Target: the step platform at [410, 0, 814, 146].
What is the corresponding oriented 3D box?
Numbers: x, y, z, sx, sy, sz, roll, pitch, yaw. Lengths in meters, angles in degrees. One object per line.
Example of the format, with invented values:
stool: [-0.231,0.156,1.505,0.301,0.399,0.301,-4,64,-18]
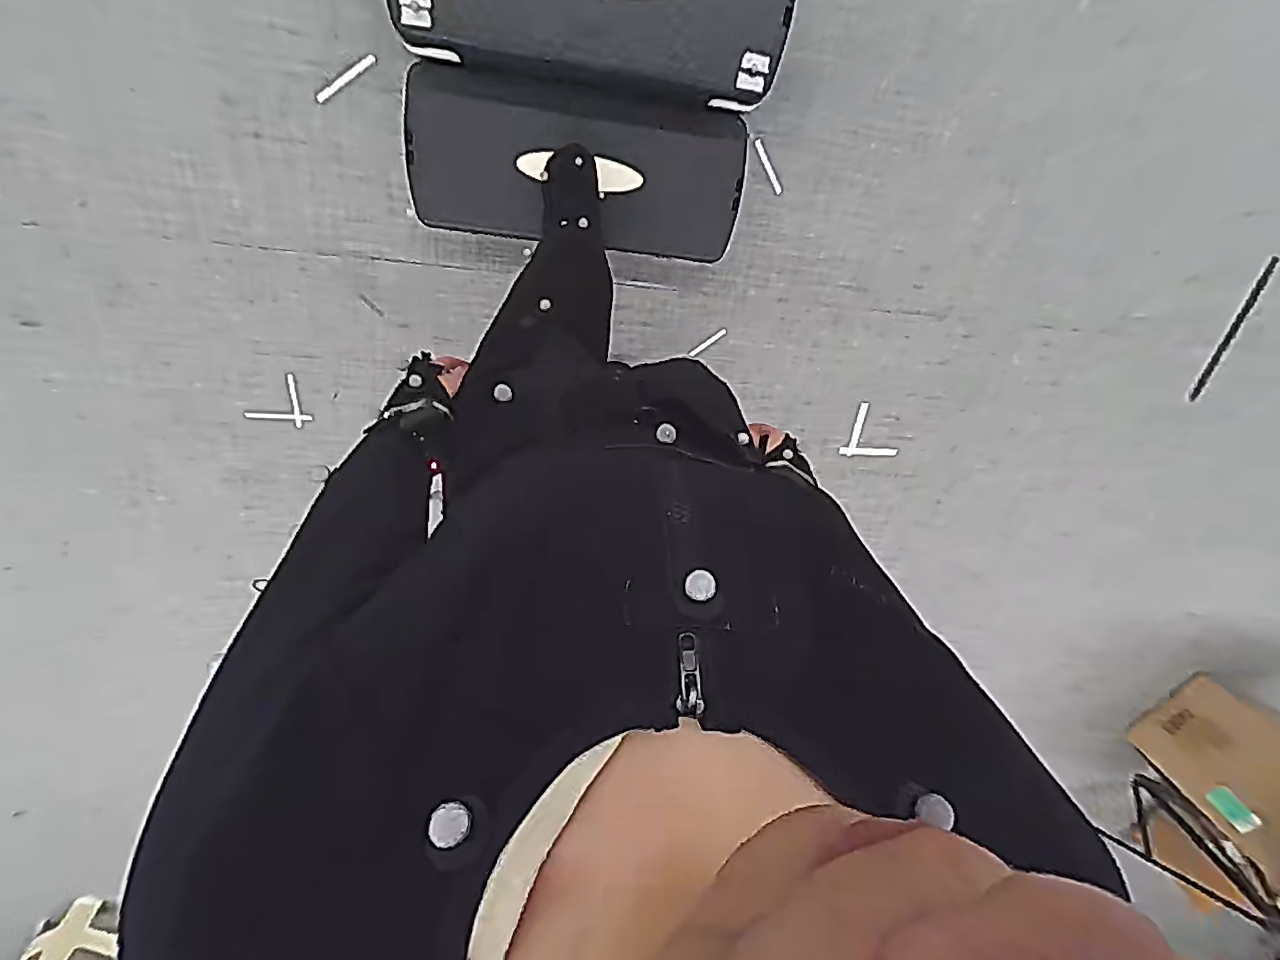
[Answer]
step platform: [-0.046,-0.832,0.960,0.684,0.204,0.286,7,116,-11]
